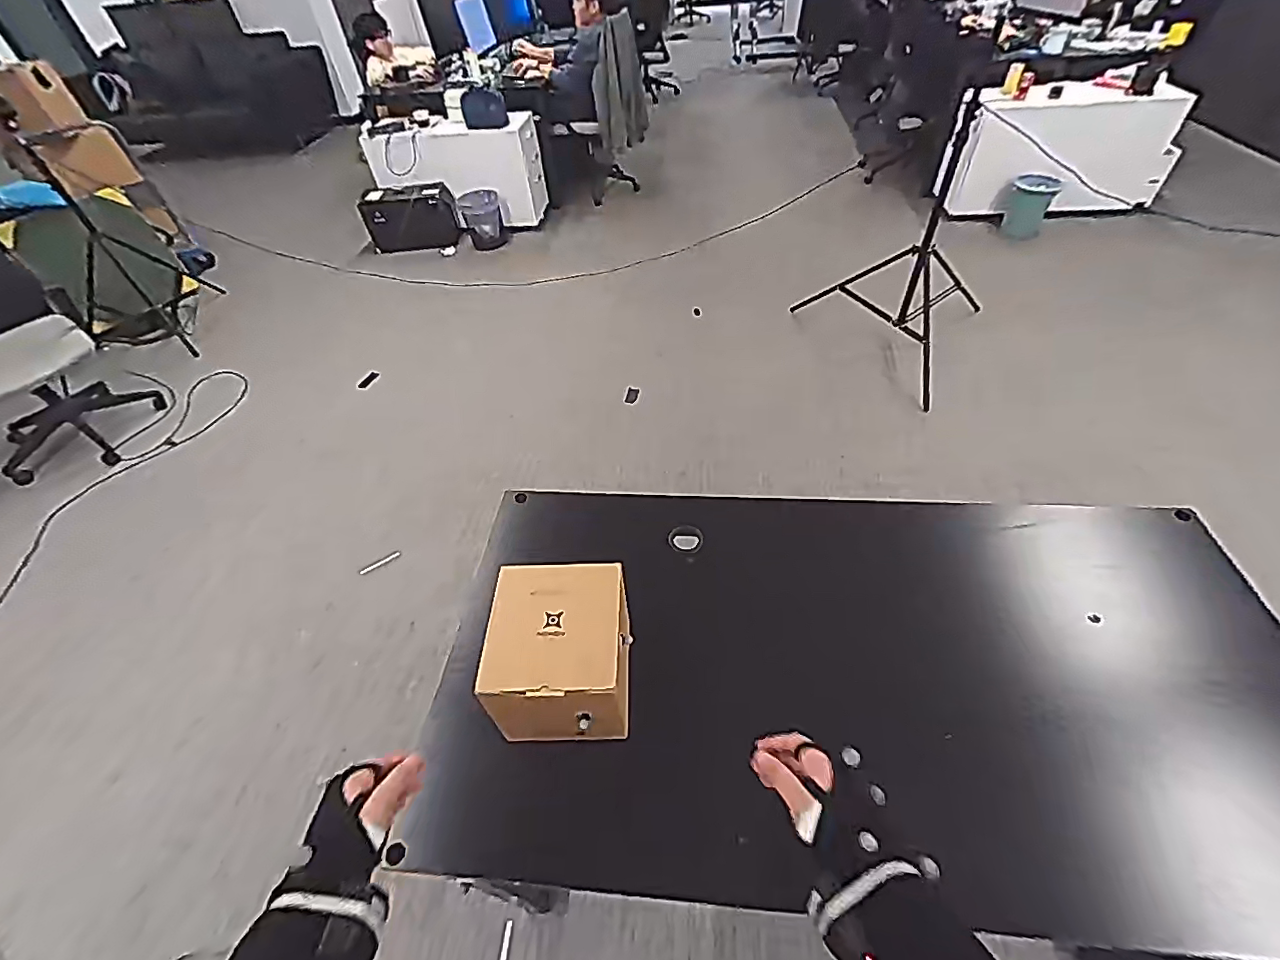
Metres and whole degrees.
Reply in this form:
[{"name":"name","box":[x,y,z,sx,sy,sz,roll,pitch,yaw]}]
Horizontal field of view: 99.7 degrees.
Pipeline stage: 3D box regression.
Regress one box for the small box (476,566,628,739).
[{"name":"small box","box":[-0.103,0.236,0.730,0.168,0.176,0.179,-2,46,2]}]
